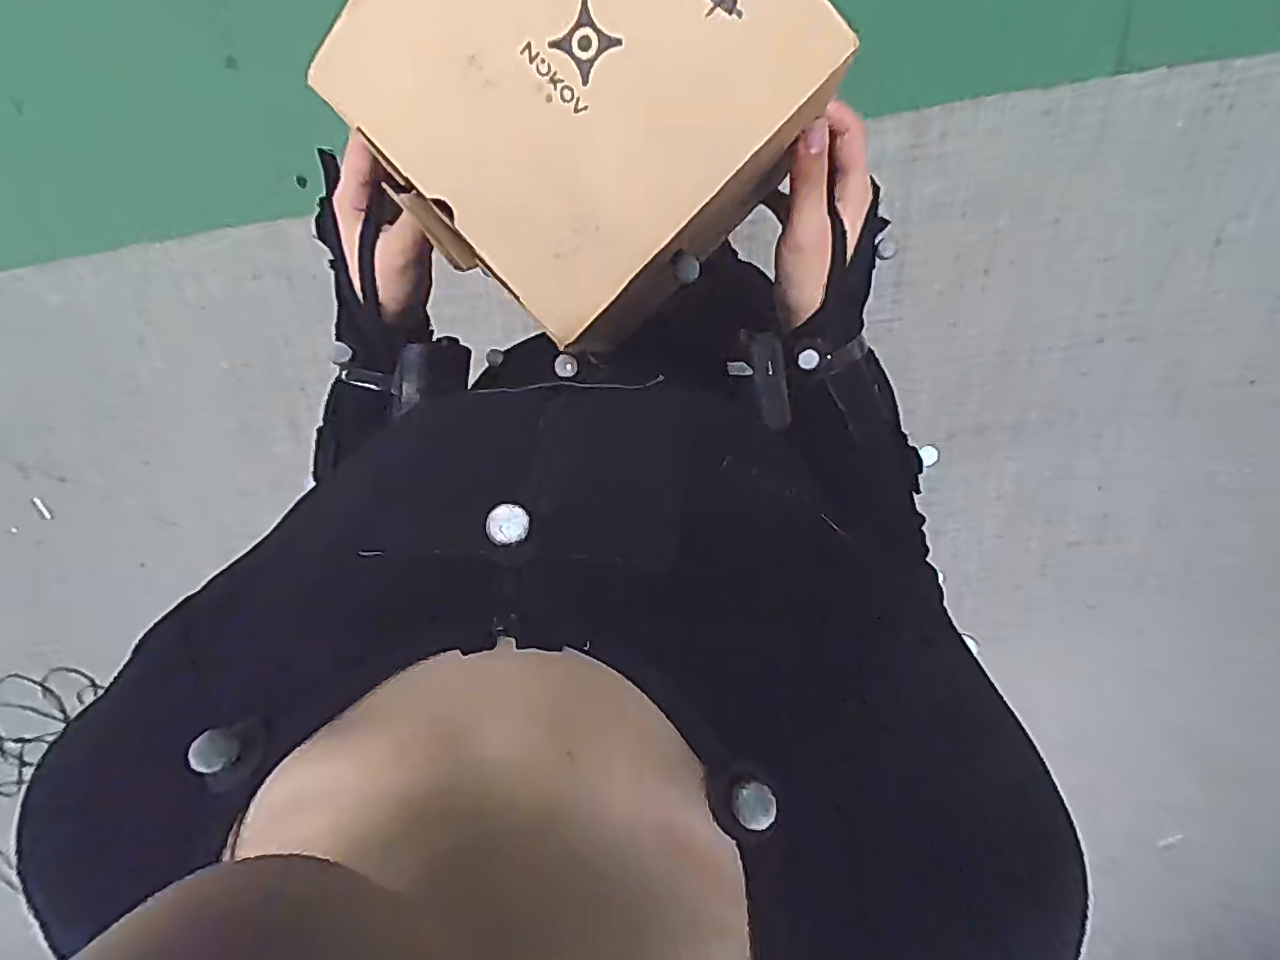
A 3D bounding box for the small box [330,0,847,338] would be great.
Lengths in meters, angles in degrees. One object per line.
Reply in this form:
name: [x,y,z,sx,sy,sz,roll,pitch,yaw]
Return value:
small box: [-0.019,-0.199,0.313,0.179,0.176,0.168,-43,96,13]
